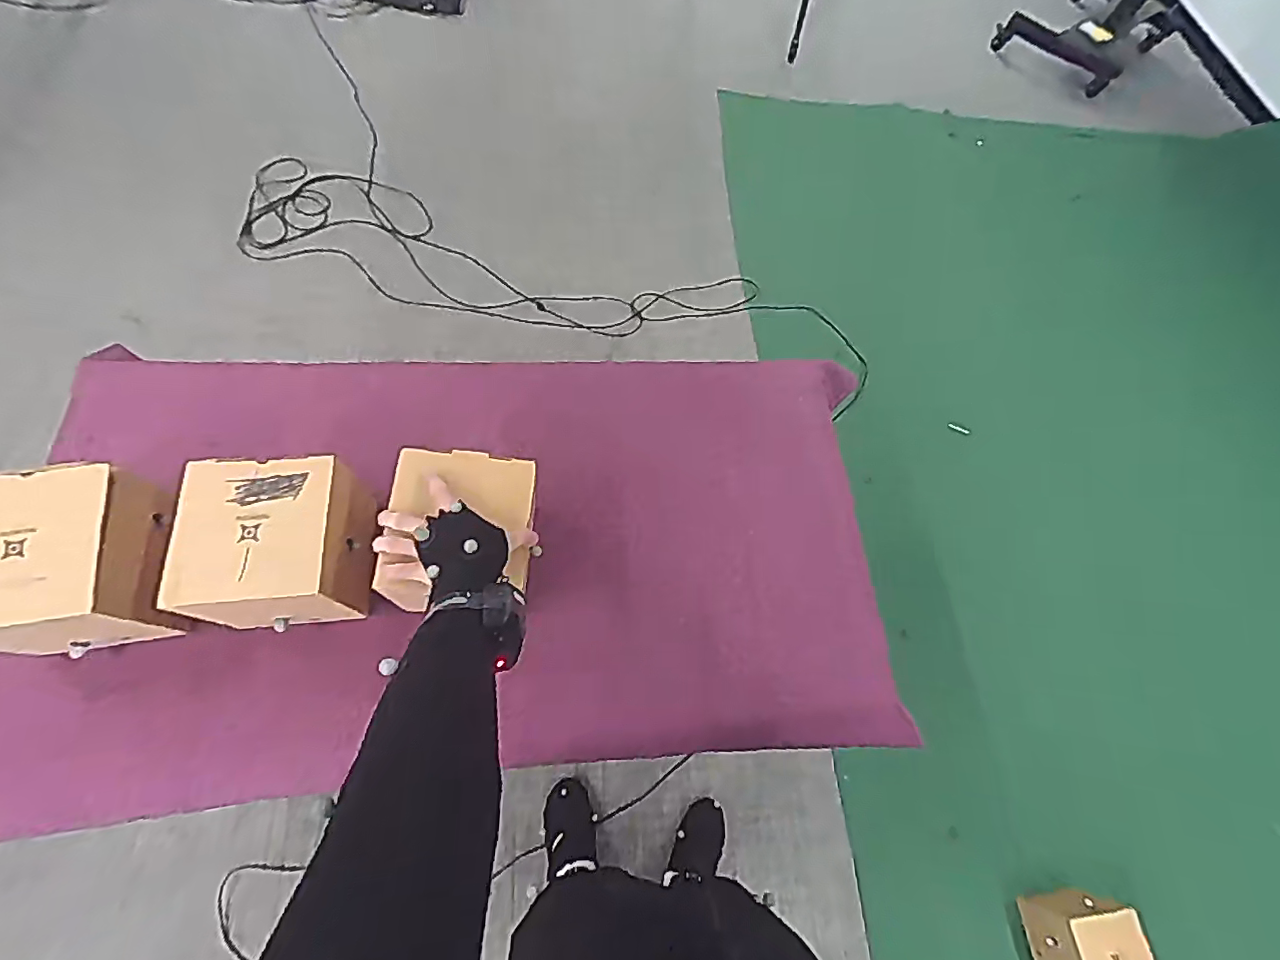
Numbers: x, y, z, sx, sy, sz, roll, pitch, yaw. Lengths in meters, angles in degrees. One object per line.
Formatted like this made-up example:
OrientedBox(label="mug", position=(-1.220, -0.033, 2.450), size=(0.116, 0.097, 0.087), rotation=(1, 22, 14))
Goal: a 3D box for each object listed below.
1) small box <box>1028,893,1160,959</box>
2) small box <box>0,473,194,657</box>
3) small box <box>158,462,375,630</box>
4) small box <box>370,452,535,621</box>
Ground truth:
OrientedBox(label="small box", position=(1.044, 1.083, 1.247), size=(0.179, 0.176, 0.168), rotation=(-2, 67, -8))
OrientedBox(label="small box", position=(-0.686, 0.110, 0.669), size=(0.168, 0.176, 0.179), rotation=(-8, 69, -9))
OrientedBox(label="small box", position=(-0.462, 0.091, 0.704), size=(0.168, 0.176, 0.179), rotation=(-3, 68, -8))
OrientedBox(label="small box", position=(-0.234, 0.083, 0.720), size=(0.168, 0.176, 0.179), rotation=(6, 67, -8))
